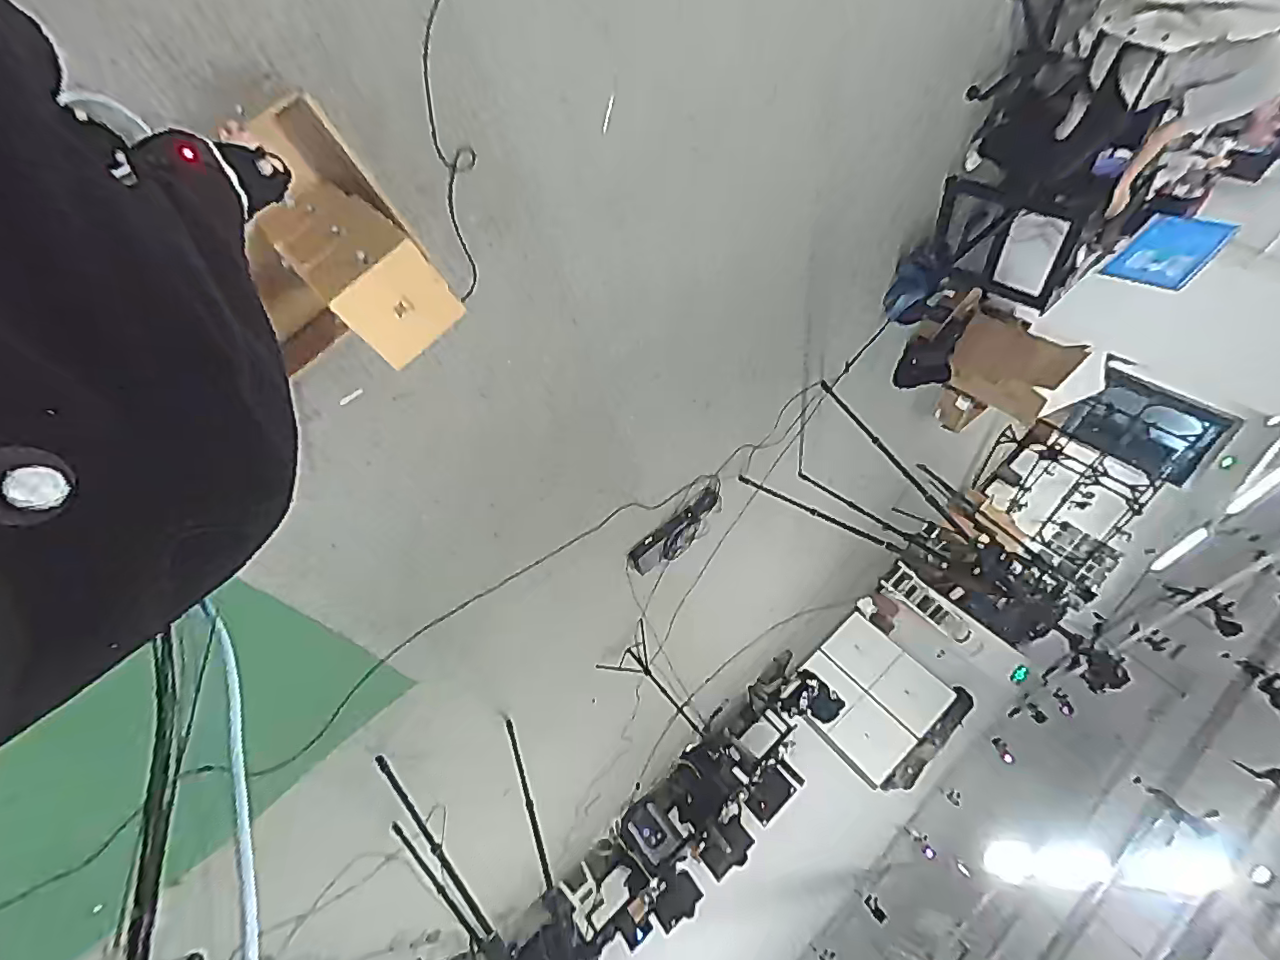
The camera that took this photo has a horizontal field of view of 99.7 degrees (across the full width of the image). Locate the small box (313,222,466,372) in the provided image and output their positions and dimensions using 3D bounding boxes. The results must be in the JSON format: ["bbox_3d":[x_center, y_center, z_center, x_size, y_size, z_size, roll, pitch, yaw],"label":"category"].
[{"bbox_3d":[-0.464,-0.337,0.992,0.179,0.176,0.168,-46,144,-8],"label":"small box"}]

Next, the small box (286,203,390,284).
[{"bbox_3d":[-0.565,-0.424,1.085,0.179,0.176,0.168,-41,143,-11],"label":"small box"}]
